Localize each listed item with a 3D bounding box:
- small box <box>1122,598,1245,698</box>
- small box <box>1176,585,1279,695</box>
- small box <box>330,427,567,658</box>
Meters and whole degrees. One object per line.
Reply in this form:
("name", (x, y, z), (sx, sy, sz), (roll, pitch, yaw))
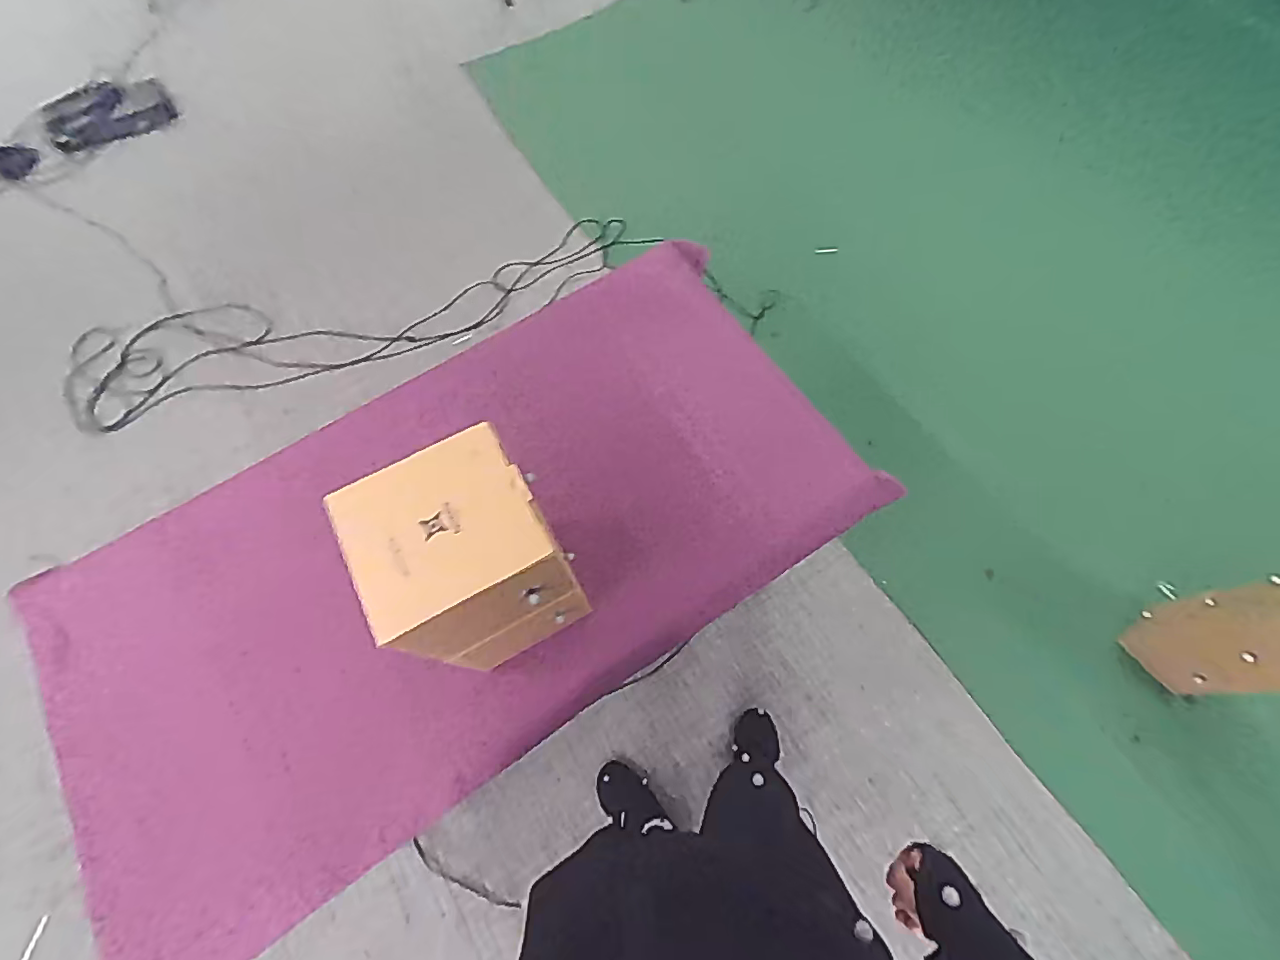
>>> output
("small box", (1.397, 0.424, 1.361), (0.168, 0.176, 0.179), (-35, 71, -13))
("small box", (1.392, 0.362, 1.211), (0.168, 0.176, 0.179), (-34, 70, -12))
("small box", (-0.192, 0.076, 0.594), (0.179, 0.176, 0.168), (-28, 68, -10))
